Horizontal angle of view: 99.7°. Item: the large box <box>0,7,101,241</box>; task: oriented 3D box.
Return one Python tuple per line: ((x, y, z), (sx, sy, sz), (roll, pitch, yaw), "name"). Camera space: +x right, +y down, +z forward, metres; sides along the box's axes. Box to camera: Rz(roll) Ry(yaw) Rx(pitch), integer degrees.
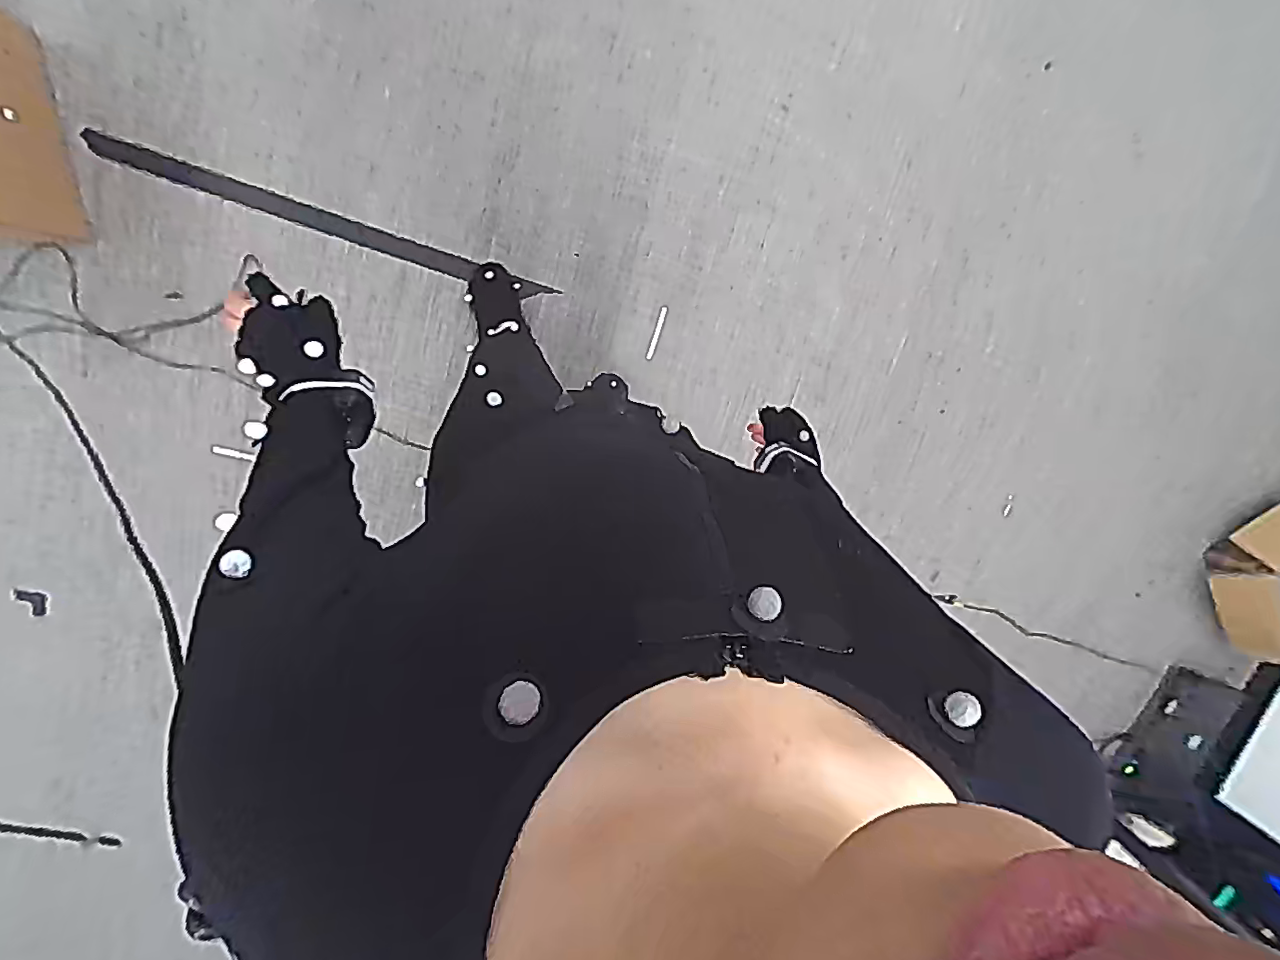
((-1.336, -0.677, 0.994), (0.320, 0.320, 0.408), (-5, 106, -8), "large box")
